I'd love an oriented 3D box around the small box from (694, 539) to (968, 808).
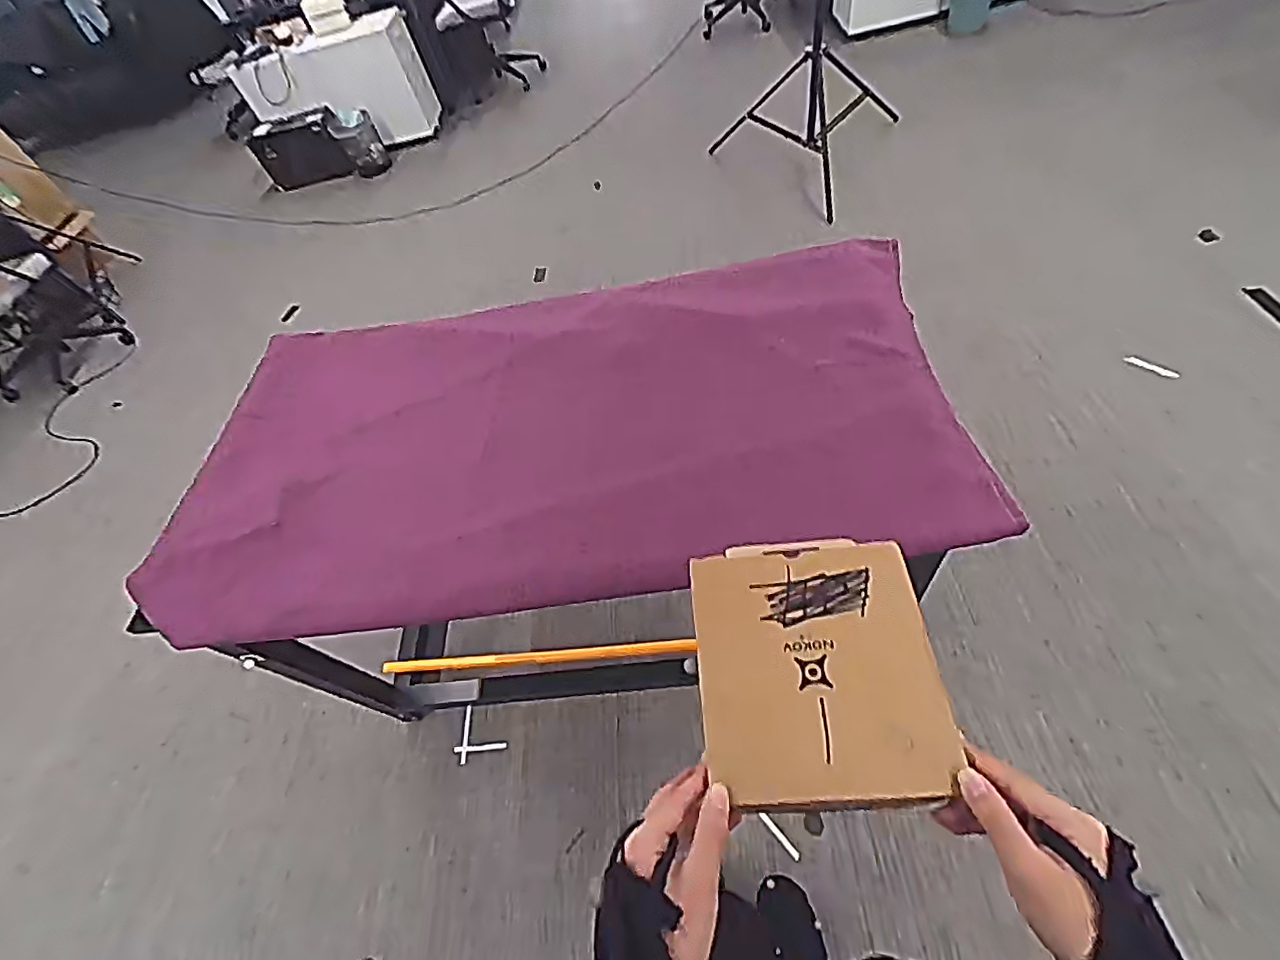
[{"bbox_3d":[0.136,0.169,0.458,0.168,0.176,0.179,-6,56,7],"label":"small box"}]
